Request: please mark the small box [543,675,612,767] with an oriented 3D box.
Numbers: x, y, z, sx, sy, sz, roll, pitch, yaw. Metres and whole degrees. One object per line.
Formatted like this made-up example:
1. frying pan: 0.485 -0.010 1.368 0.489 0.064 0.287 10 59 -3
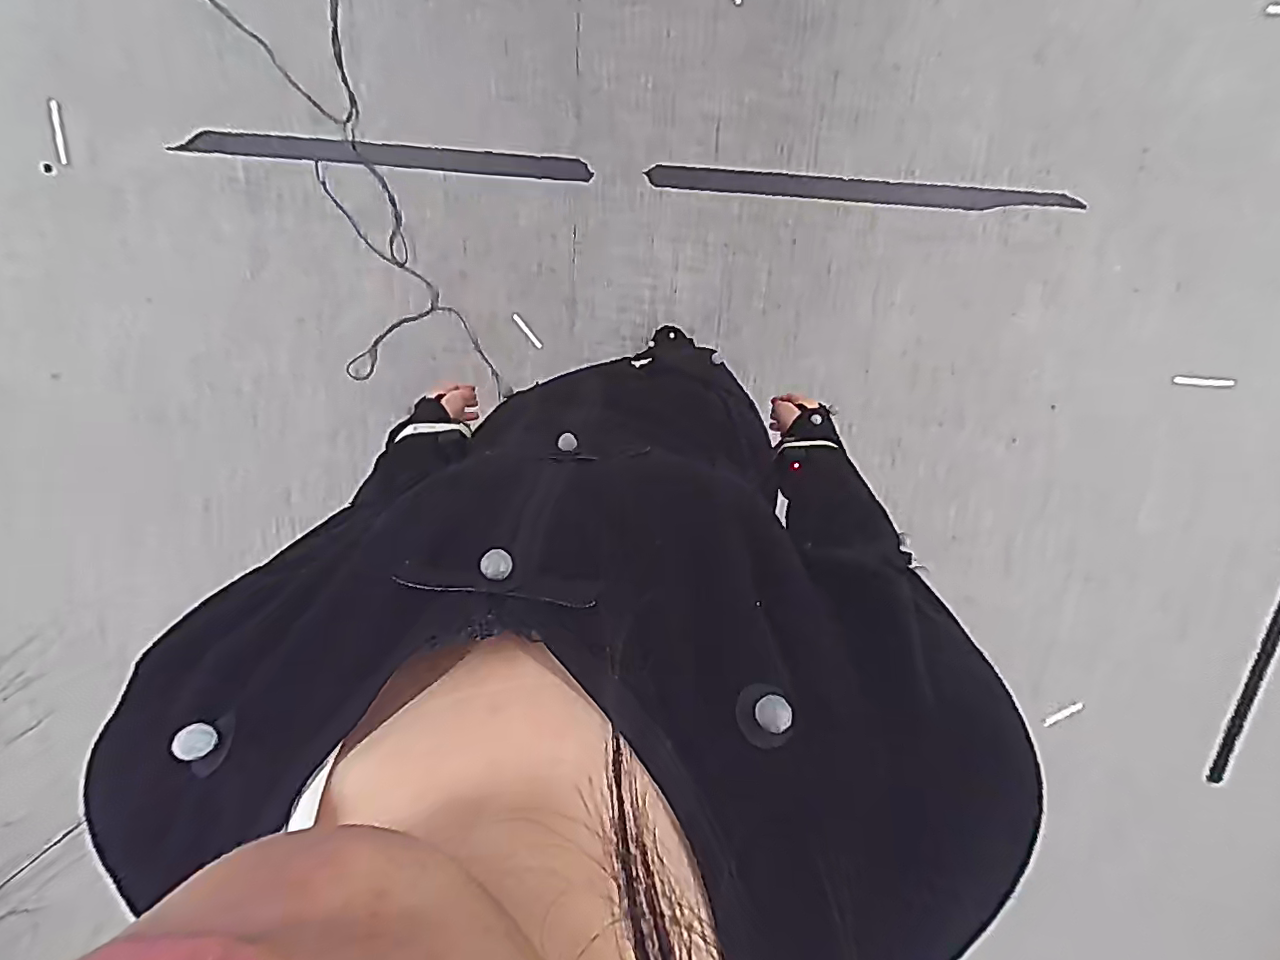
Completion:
1. small box: -0.174 0.693 1.563 0.168 0.176 0.179 -5 104 2
